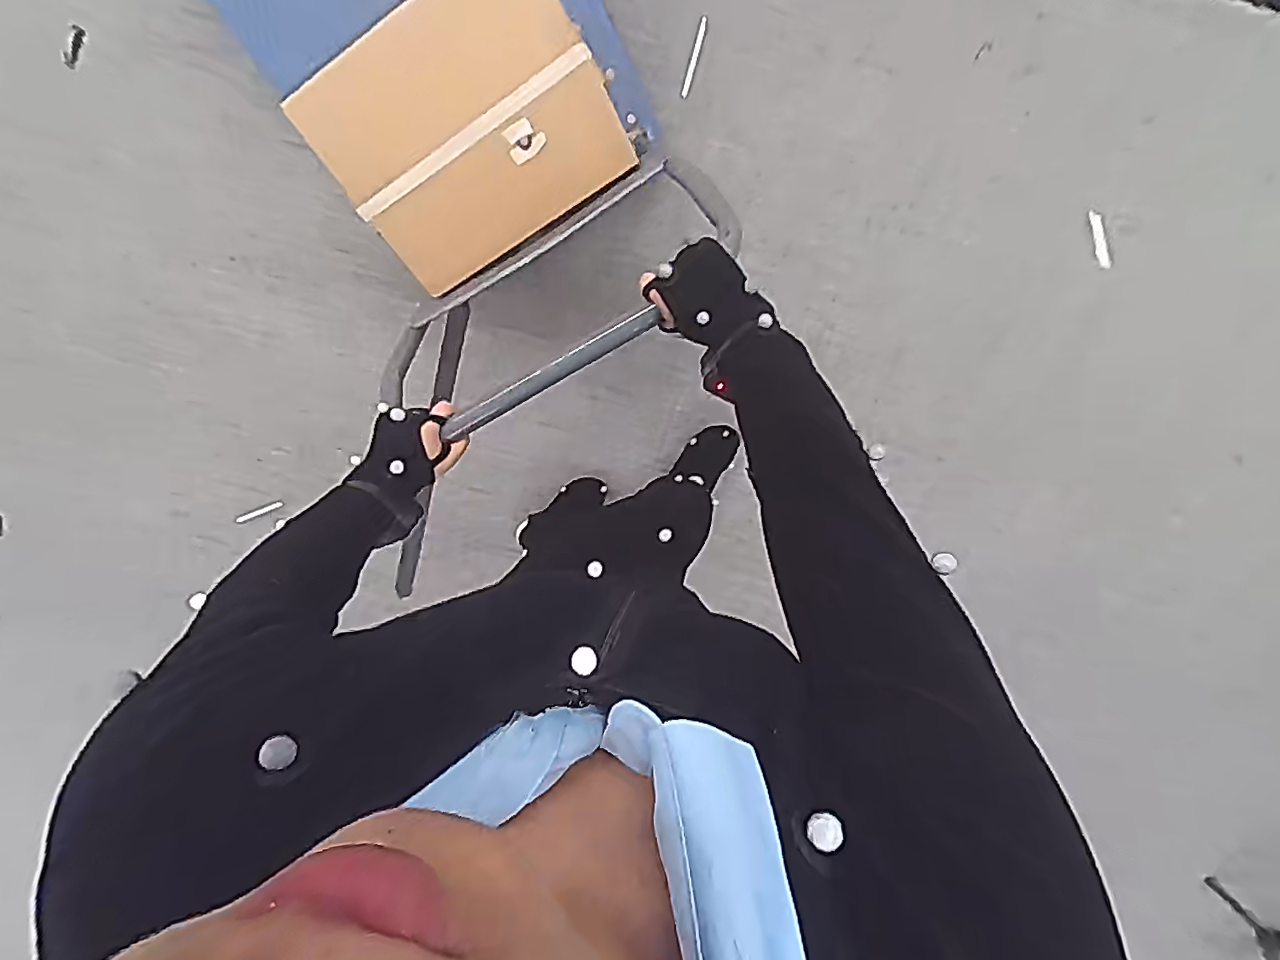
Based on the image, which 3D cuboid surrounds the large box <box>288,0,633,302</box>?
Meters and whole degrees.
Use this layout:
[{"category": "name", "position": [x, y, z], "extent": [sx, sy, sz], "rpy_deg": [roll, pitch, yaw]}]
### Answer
[{"category": "large box", "position": [-0.271, -0.575, 0.916], "extent": [0.408, 0.320, 0.320], "rpy_deg": [-29, 123, 11]}]
